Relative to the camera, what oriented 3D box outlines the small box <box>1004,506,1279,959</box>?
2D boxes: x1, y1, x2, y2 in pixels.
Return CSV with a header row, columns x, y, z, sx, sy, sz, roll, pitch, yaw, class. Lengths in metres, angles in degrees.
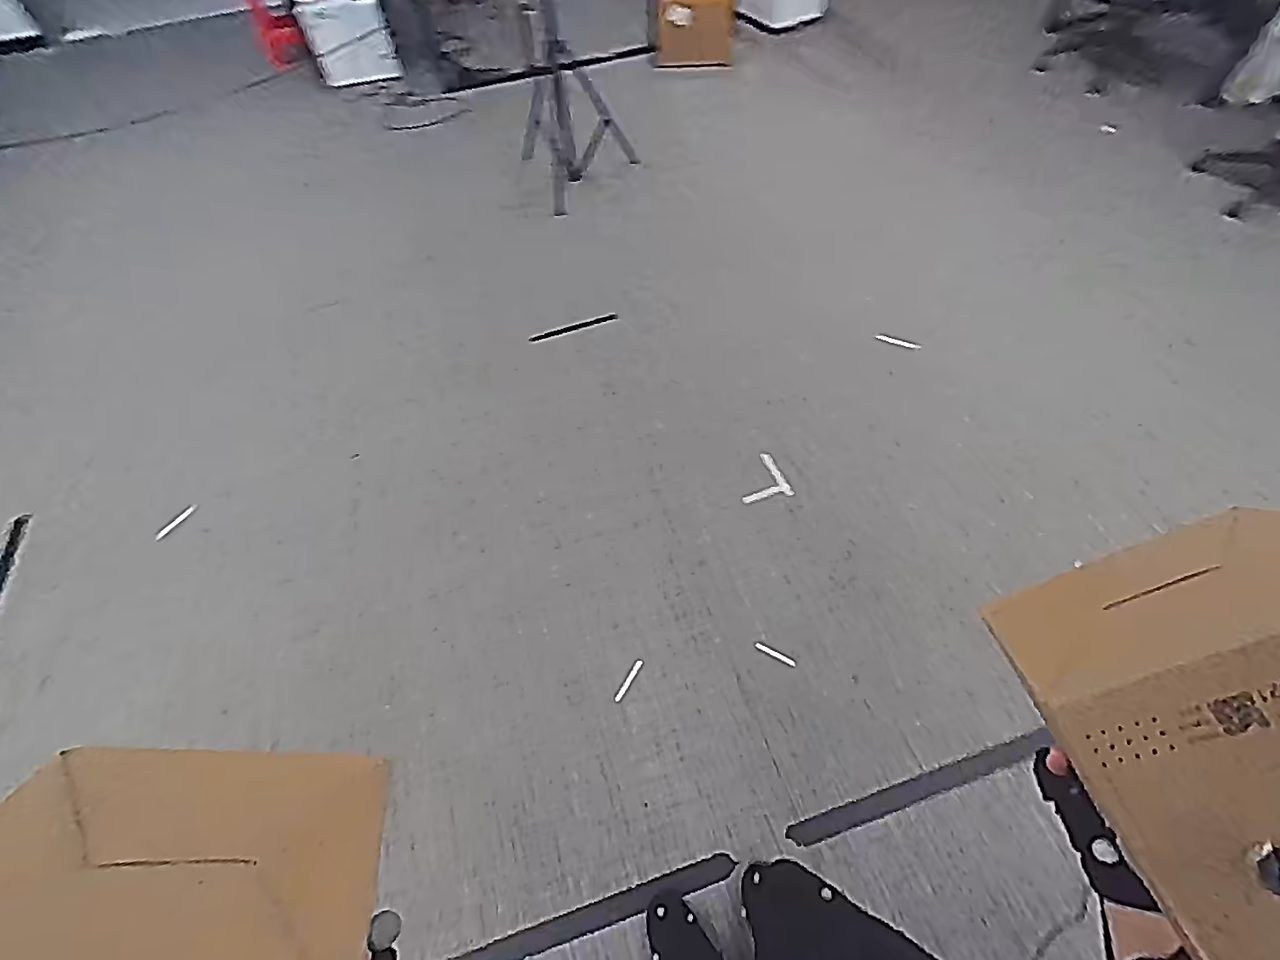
x,y,z,sx,sy,sz,roll,pitch,yaw,class
0.321,0.124,0.271,0.168,0.179,0.176,-29,80,22,small box
